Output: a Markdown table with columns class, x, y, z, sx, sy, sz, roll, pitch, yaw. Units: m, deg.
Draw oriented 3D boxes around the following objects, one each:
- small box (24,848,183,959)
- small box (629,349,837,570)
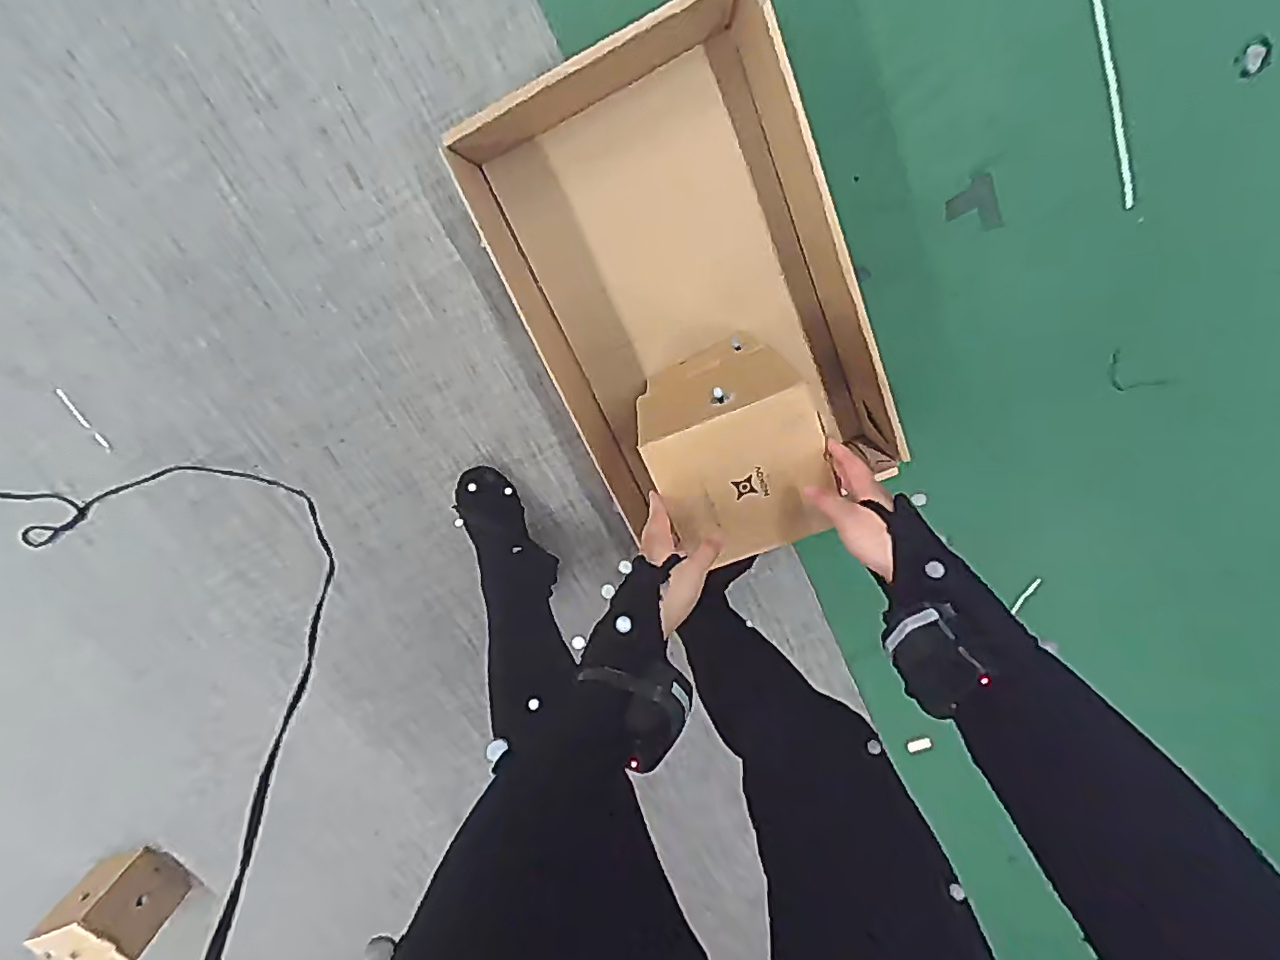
| class | x | y | z | sx | sy | sz | roll | pitch | yaw |
| --- | --- | --- | --- | --- | --- | --- | --- | --- | --- |
| small box | -1.235 | 1.010 | 1.268 | 0.179 | 0.176 | 0.168 | -25 | 108 | 9 |
| small box | 0.097 | -0.032 | 0.618 | 0.179 | 0.176 | 0.168 | -21 | 113 | 10 |
